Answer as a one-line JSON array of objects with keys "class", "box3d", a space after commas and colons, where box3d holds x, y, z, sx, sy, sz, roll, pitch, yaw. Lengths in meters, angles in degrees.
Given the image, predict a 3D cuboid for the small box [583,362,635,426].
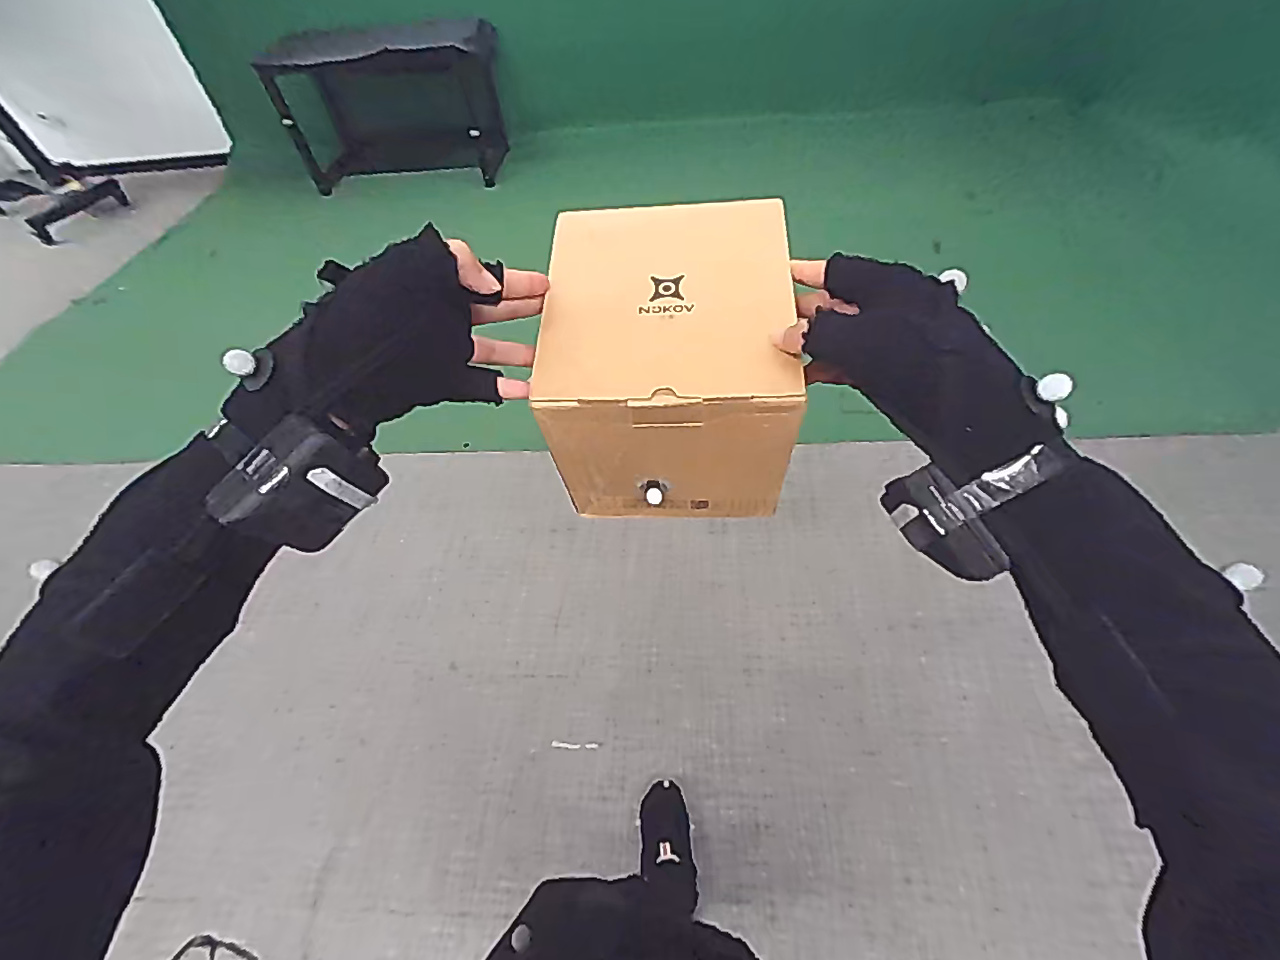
[{"class": "small box", "box3d": [-0.109, -0.321, 2.008, 0.168, 0.176, 0.179, -1, 51, 7]}]
